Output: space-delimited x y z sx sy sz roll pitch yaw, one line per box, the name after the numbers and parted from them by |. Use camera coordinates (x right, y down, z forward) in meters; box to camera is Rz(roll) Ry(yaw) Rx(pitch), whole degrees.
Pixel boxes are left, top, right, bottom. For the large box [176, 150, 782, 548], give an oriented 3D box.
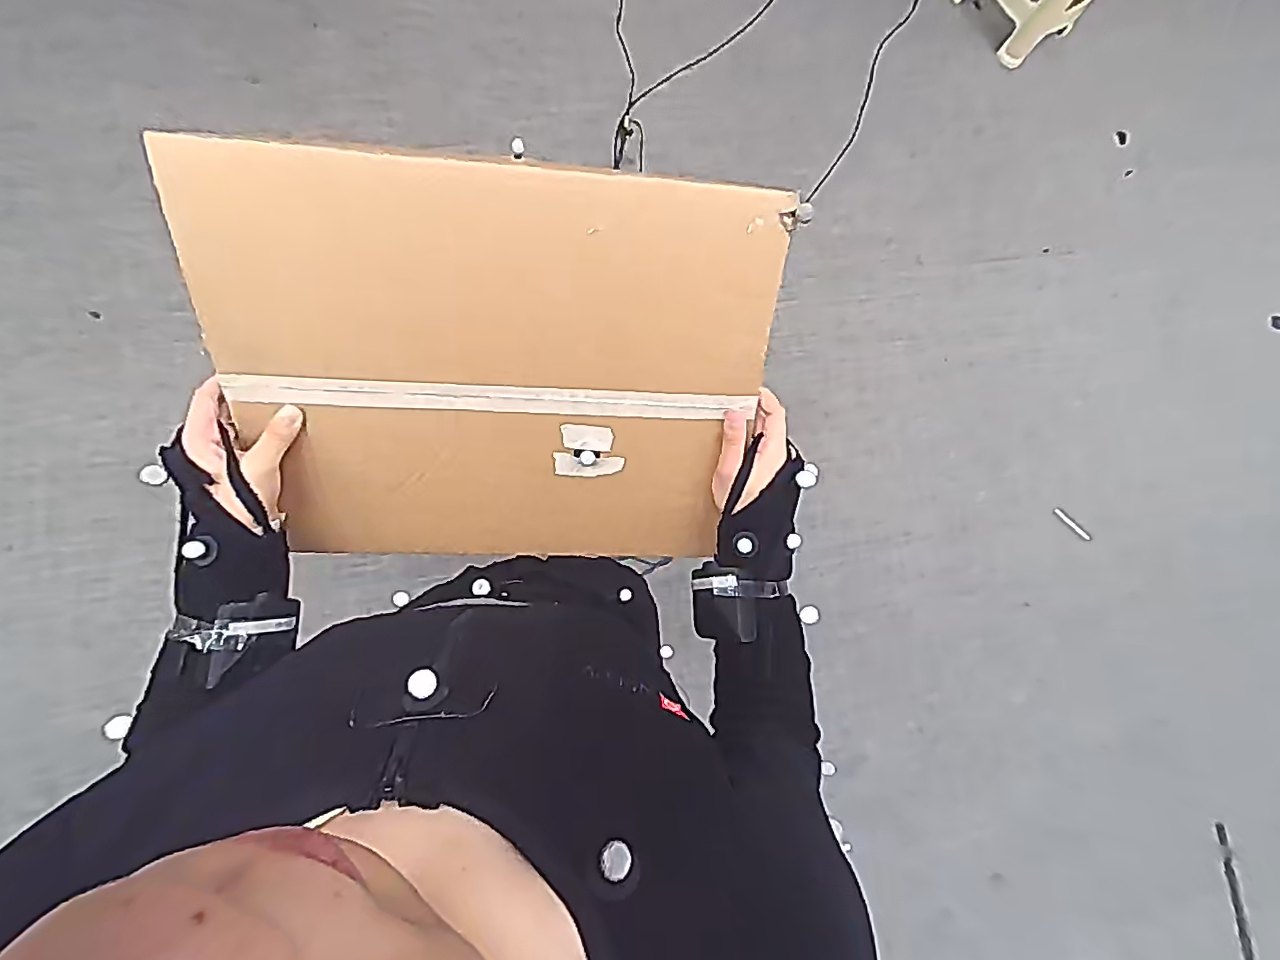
-0.121 -0.148 0.561 0.408 0.320 0.320 0 122 -8 | large box
